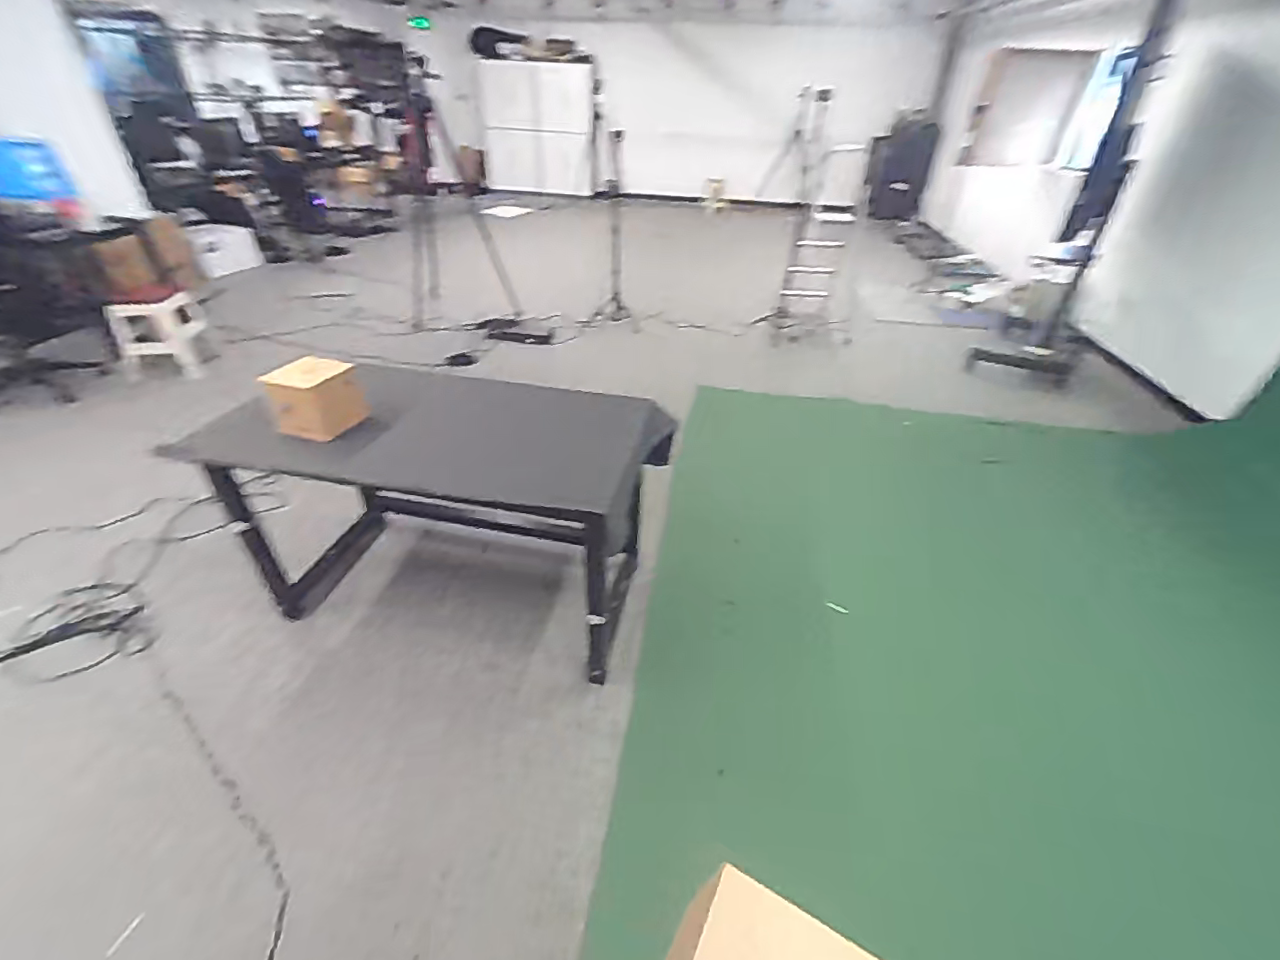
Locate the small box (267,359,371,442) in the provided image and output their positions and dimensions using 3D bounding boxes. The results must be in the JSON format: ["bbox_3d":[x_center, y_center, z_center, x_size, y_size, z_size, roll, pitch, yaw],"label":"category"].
[{"bbox_3d":[-0.898,-0.226,1.536,0.168,0.176,0.179,11,35,12],"label":"small box"}]
